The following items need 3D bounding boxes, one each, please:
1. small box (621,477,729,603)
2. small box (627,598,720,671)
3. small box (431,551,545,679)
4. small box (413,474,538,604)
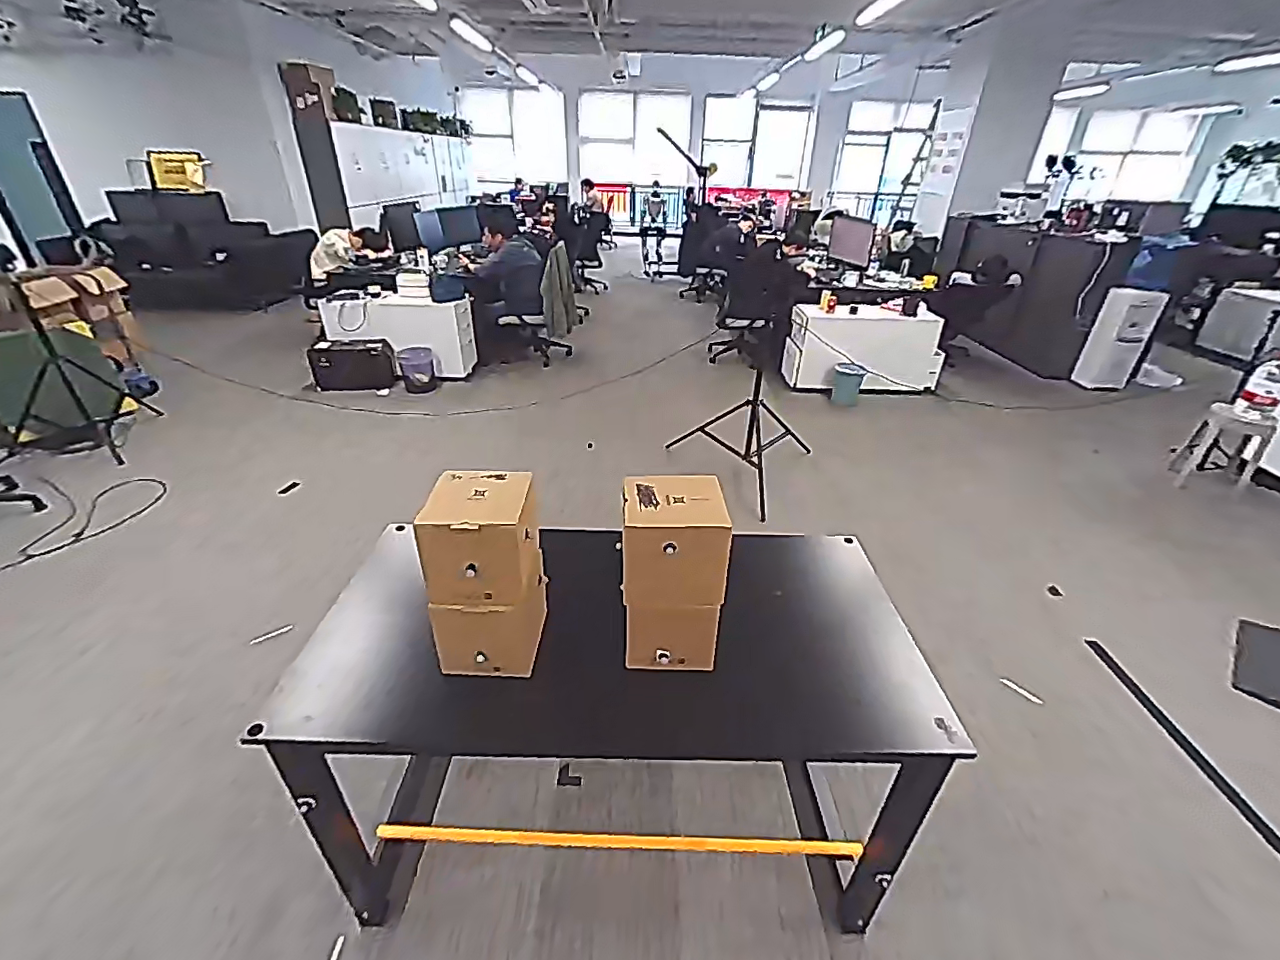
[{"bbox_3d":[0.055,0.107,0.972,0.179,0.176,0.168,0,30,-2],"label":"small box"},{"bbox_3d":[0.058,0.248,1.057,0.168,0.176,0.179,-1,31,0],"label":"small box"},{"bbox_3d":[-0.278,0.251,1.035,0.168,0.176,0.179,1,30,1],"label":"small box"},{"bbox_3d":[-0.278,0.104,0.961,0.168,0.176,0.179,0,30,-1],"label":"small box"}]
